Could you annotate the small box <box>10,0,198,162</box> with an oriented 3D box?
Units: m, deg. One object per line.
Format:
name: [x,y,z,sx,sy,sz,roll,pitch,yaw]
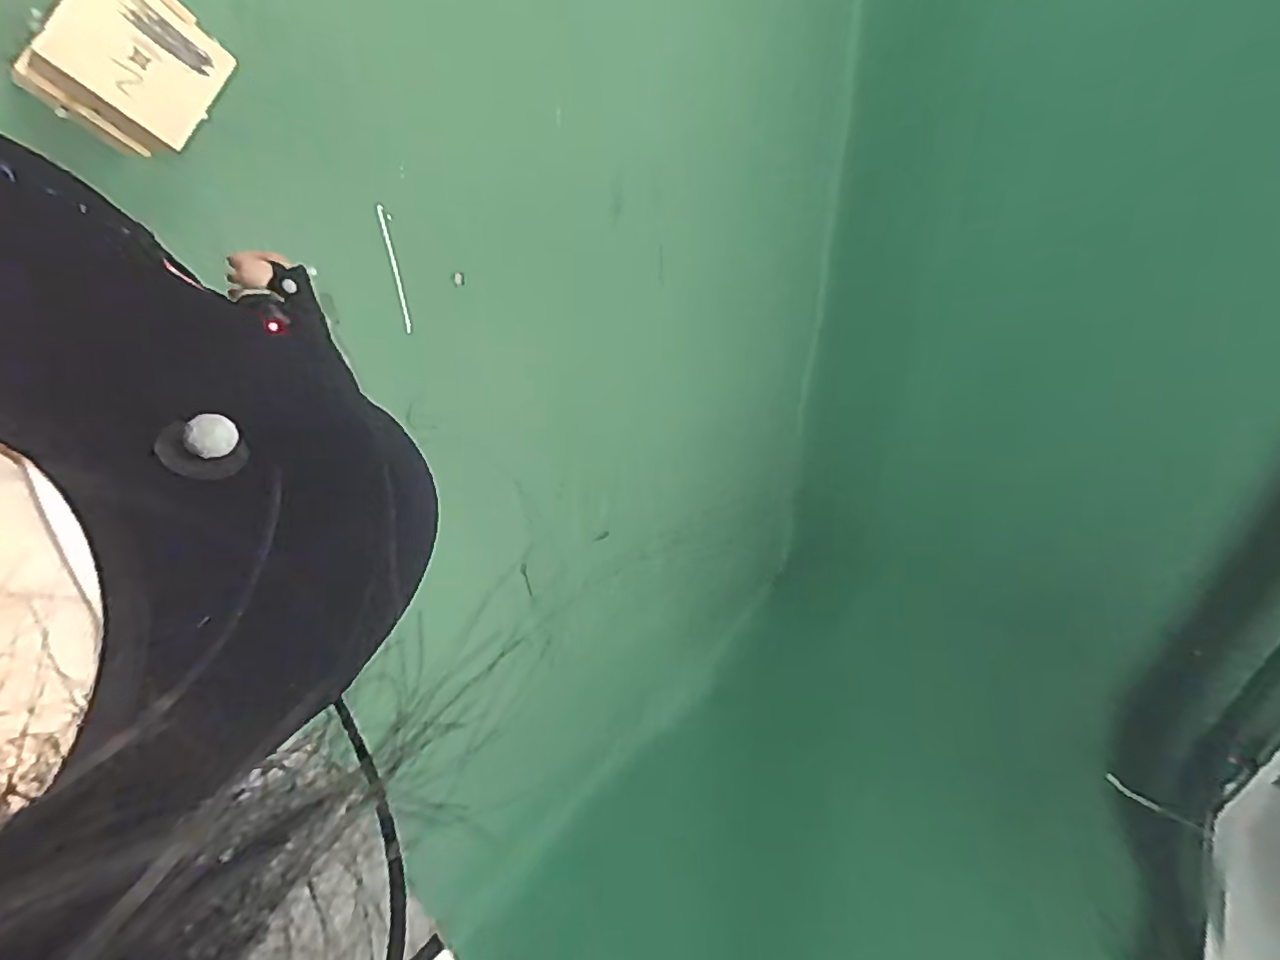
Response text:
small box: [-0.898,-0.666,0.911,0.168,0.176,0.179,33,83,-52]
